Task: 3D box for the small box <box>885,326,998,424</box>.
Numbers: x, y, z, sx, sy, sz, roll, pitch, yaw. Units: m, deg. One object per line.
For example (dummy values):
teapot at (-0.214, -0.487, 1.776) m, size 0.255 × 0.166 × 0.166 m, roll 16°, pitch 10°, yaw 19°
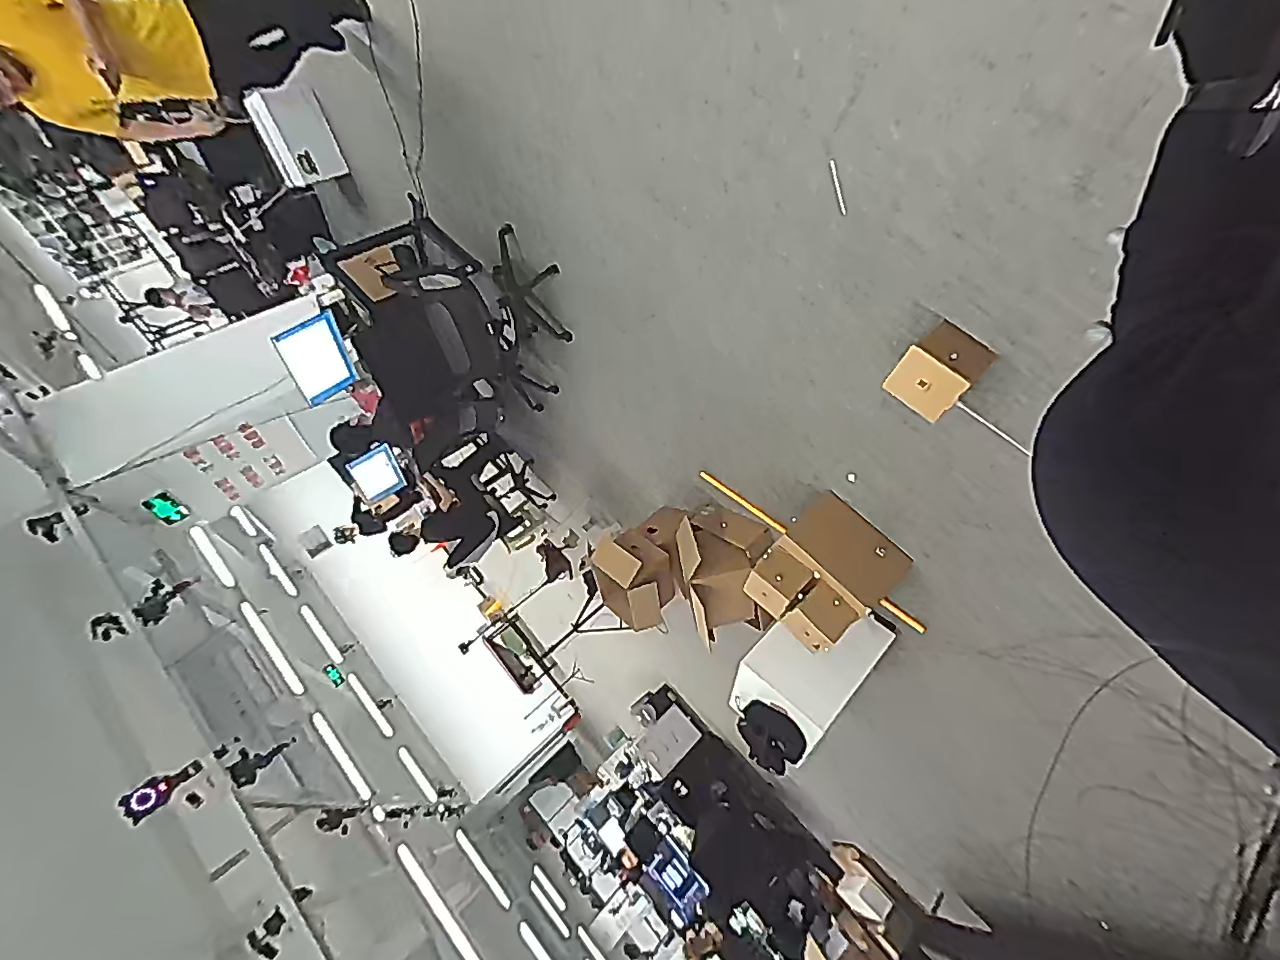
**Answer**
small box at (0.819, -0.292, 1.470) m, size 0.179 × 0.176 × 0.168 m, roll 43°, pitch 152°, yaw 17°
